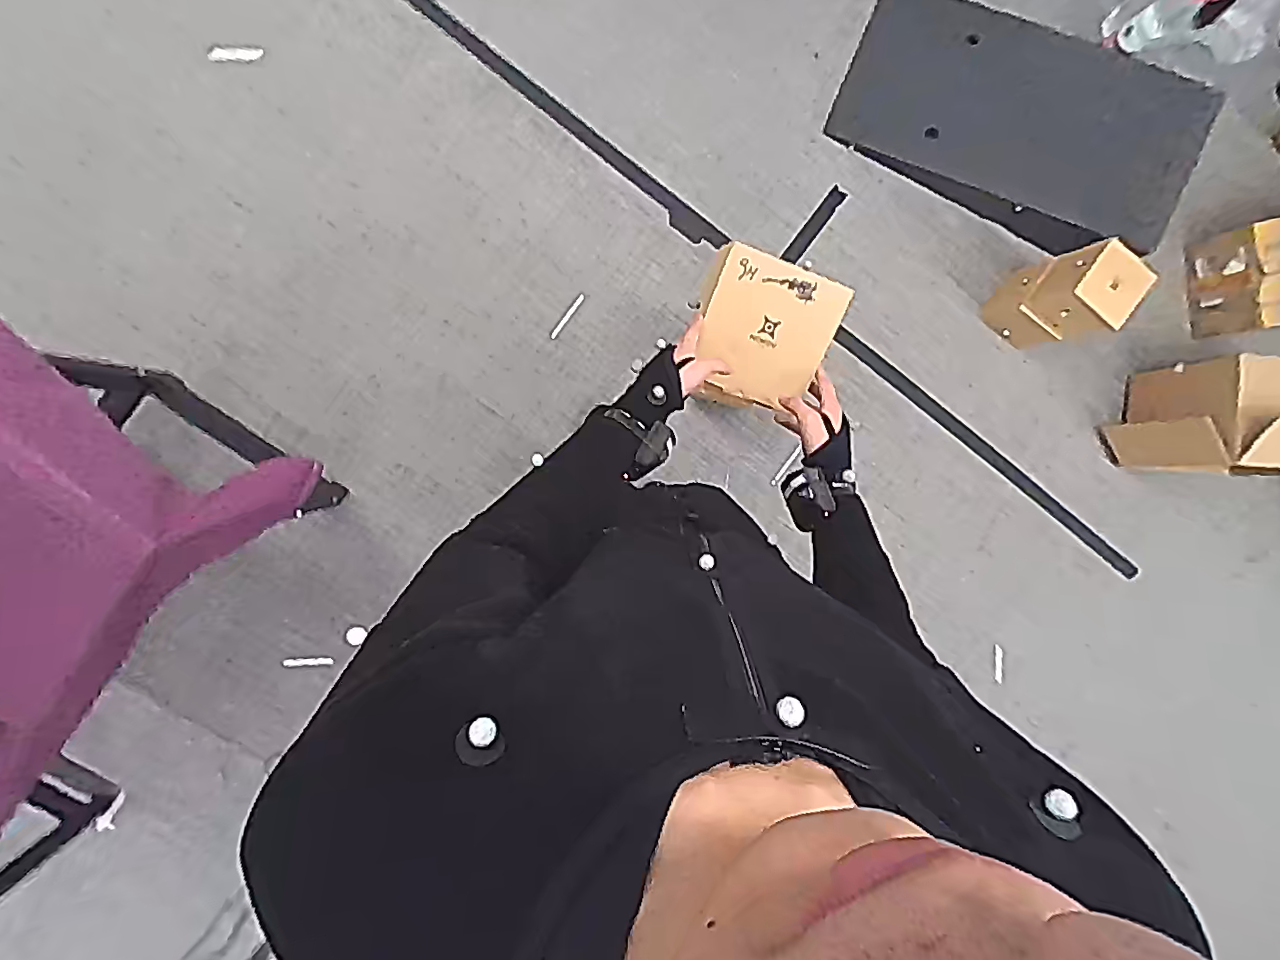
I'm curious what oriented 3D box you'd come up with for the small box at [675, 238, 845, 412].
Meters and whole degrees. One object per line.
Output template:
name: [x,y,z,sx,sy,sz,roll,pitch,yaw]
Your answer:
small box: [0.156,-0.222,0.770,0.168,0.176,0.179,19,110,-6]
